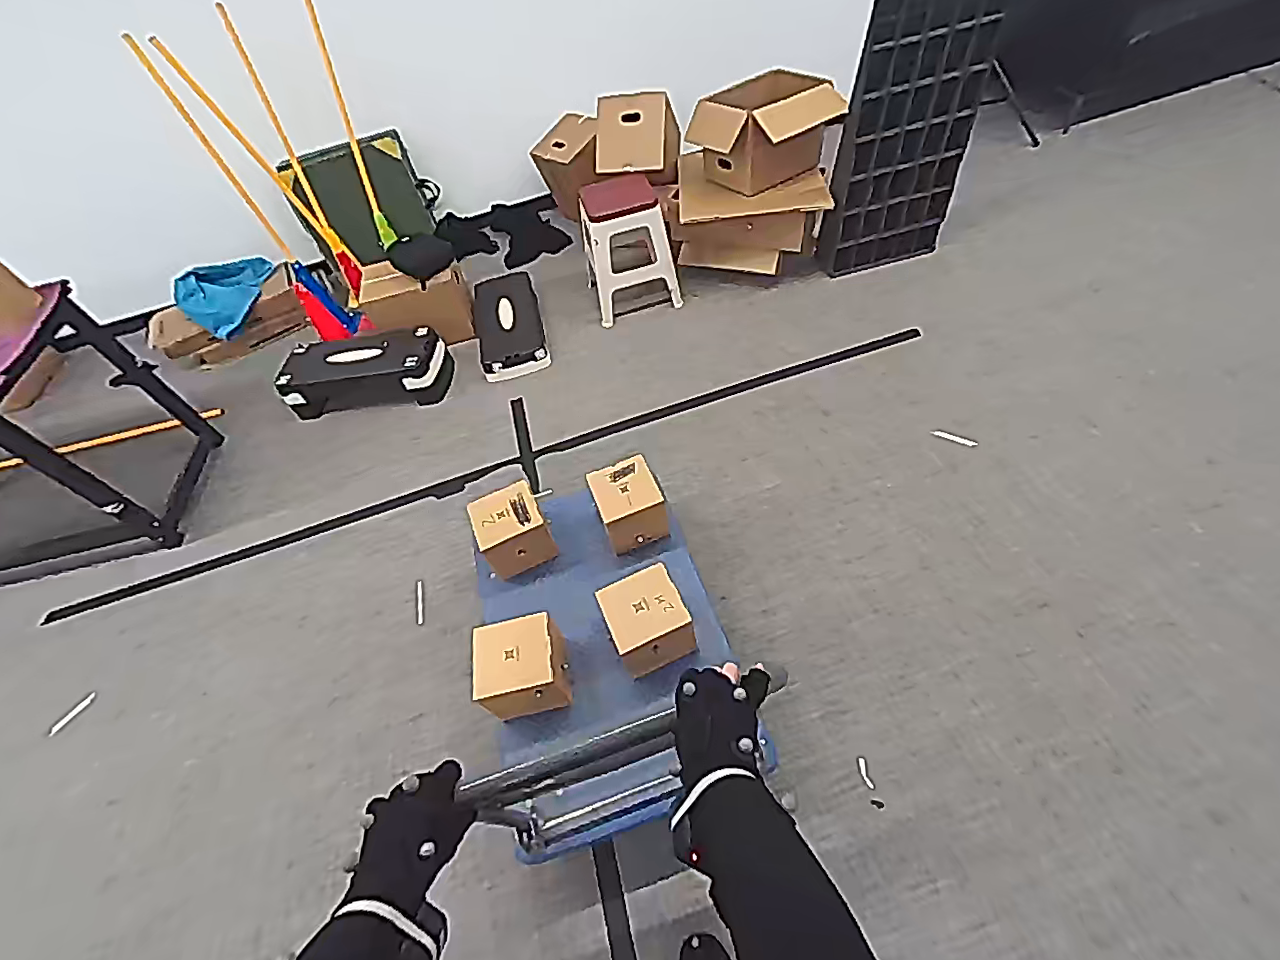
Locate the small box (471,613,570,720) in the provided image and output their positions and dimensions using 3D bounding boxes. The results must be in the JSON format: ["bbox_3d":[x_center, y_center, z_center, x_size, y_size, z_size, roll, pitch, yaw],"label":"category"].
[{"bbox_3d":[-0.271,0.432,1.240,0.179,0.176,0.168,-13,51,-1],"label":"small box"}]

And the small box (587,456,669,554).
[{"bbox_3d":[-0.030,0.071,1.472,0.168,0.176,0.179,-21,53,-6],"label":"small box"}]

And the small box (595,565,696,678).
[{"bbox_3d":[0.016,0.334,1.261,0.179,0.176,0.168,-23,52,-7],"label":"small box"}]
